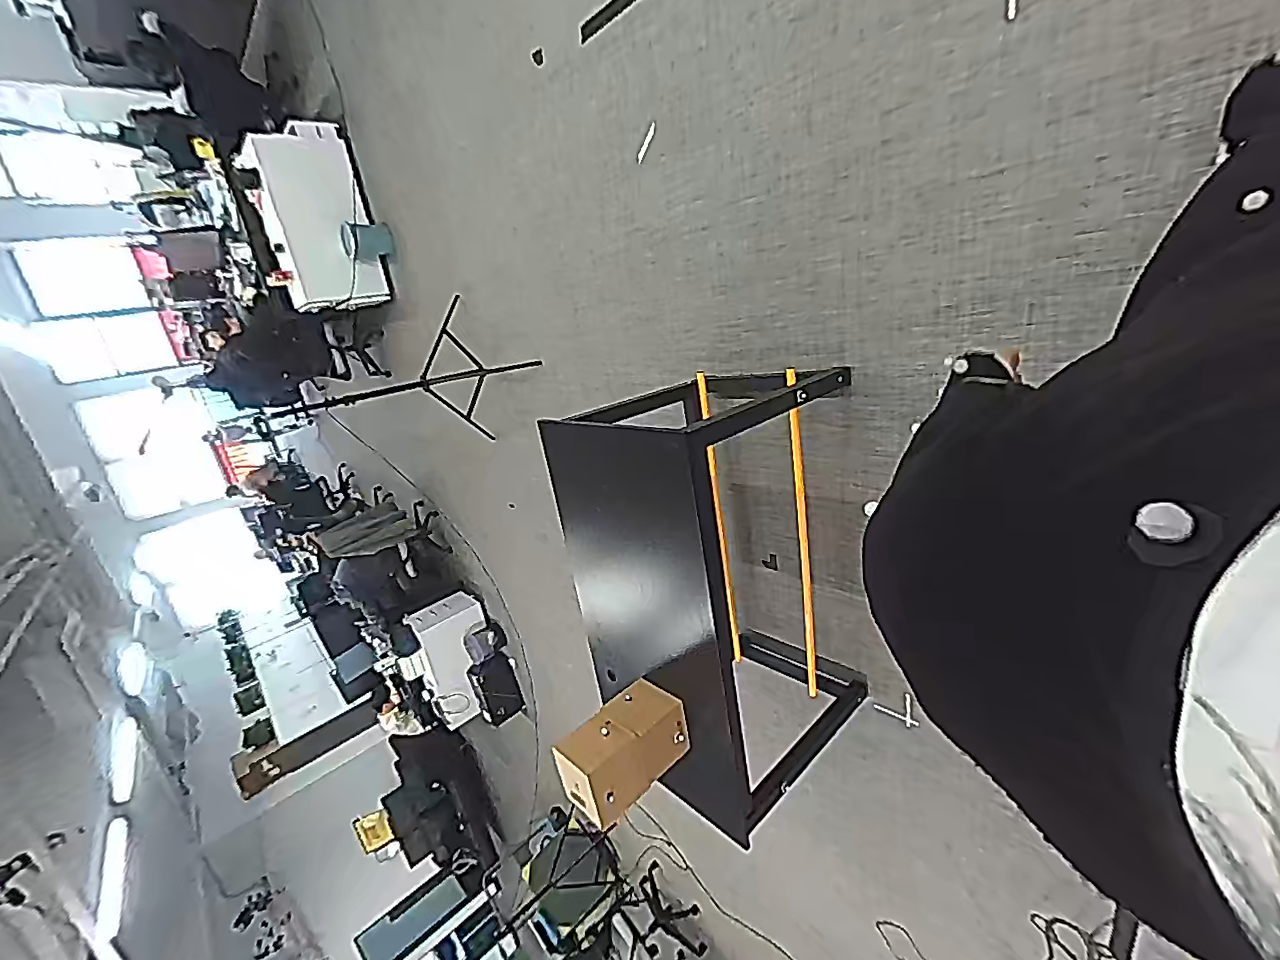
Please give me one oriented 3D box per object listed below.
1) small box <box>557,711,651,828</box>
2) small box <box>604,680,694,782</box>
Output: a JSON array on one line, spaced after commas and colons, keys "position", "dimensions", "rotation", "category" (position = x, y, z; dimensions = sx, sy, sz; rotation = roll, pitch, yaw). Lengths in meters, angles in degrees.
[{"position": [-0.090, 0.755, 1.430], "dimensions": [0.168, 0.176, 0.179], "rotation": [6, 114, 50], "category": "small box"}, {"position": [0.027, 0.699, 1.531], "dimensions": [0.179, 0.176, 0.168], "rotation": [8, 116, 49], "category": "small box"}]
